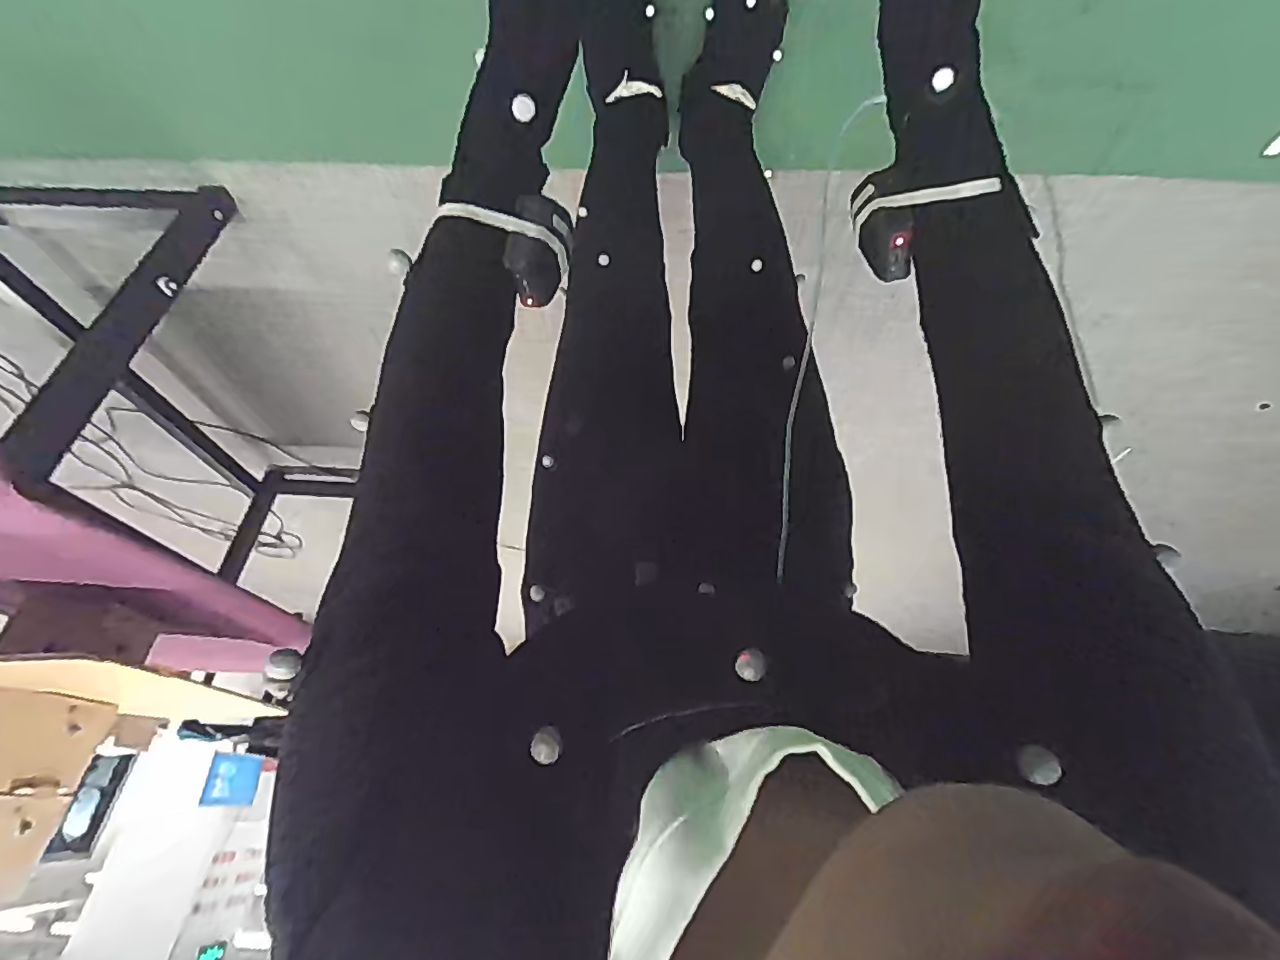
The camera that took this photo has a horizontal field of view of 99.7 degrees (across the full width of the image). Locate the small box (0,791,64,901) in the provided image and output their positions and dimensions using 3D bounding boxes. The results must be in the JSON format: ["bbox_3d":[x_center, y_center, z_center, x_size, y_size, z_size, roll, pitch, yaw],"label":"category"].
[{"bbox_3d":[-1.211,0.639,0.955,0.179,0.176,0.168,5,149,1],"label":"small box"}]

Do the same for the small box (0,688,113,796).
[{"bbox_3d":[-1.198,0.500,1.039,0.179,0.176,0.168,5,149,1],"label":"small box"}]
